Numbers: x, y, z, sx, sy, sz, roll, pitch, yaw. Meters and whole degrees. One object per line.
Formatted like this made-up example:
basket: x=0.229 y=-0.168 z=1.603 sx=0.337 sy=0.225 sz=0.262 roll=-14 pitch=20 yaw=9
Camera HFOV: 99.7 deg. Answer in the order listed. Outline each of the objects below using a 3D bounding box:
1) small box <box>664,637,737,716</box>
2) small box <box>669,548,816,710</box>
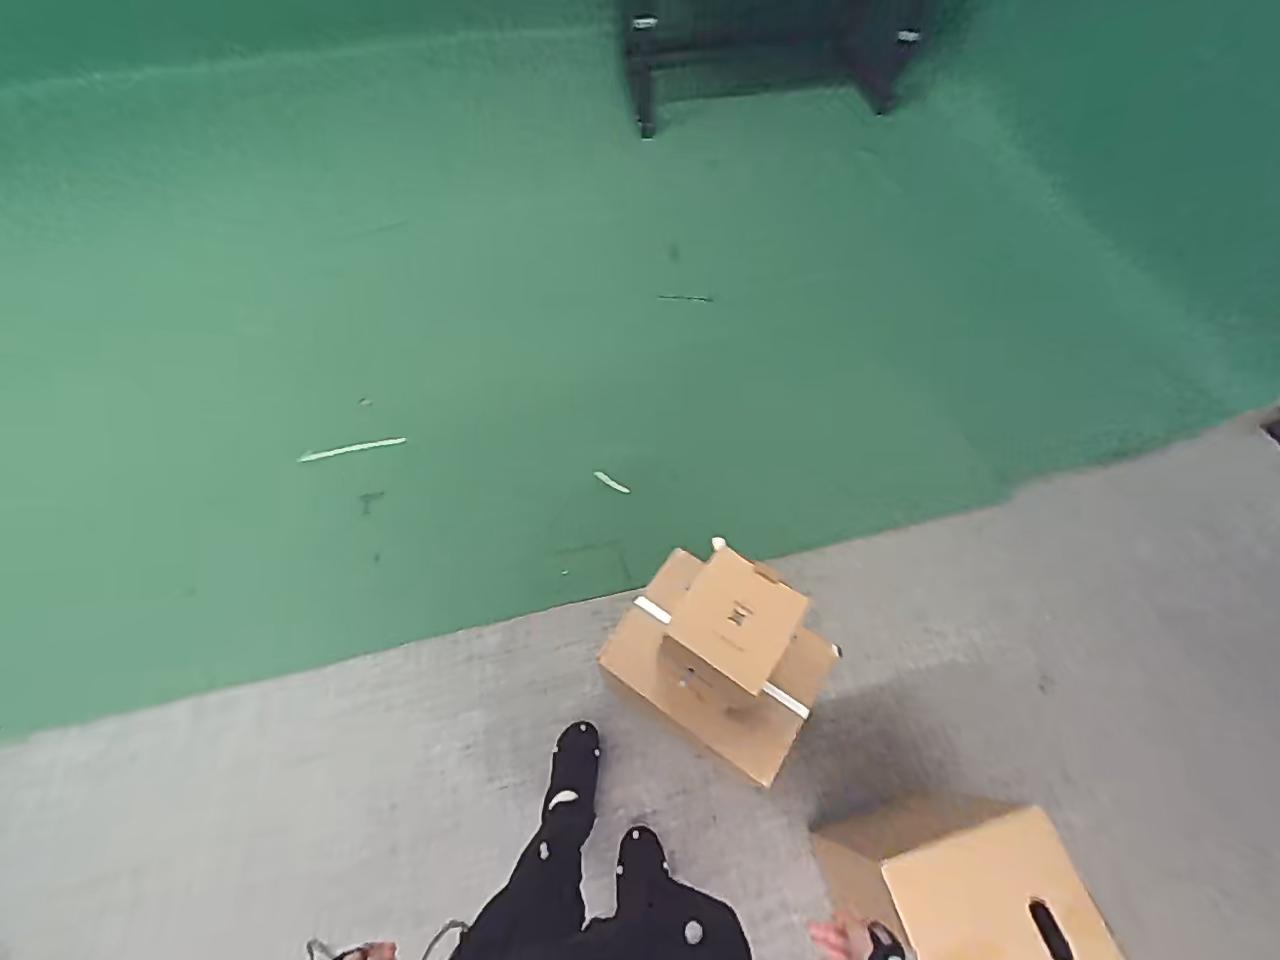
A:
small box: x=0.157 y=0.322 z=1.035 sx=0.168 sy=0.176 sz=0.179 roll=36 pitch=67 yaw=18
small box: x=0.157 y=0.249 z=0.889 sx=0.168 sy=0.176 sz=0.179 roll=33 pitch=66 yaw=17
